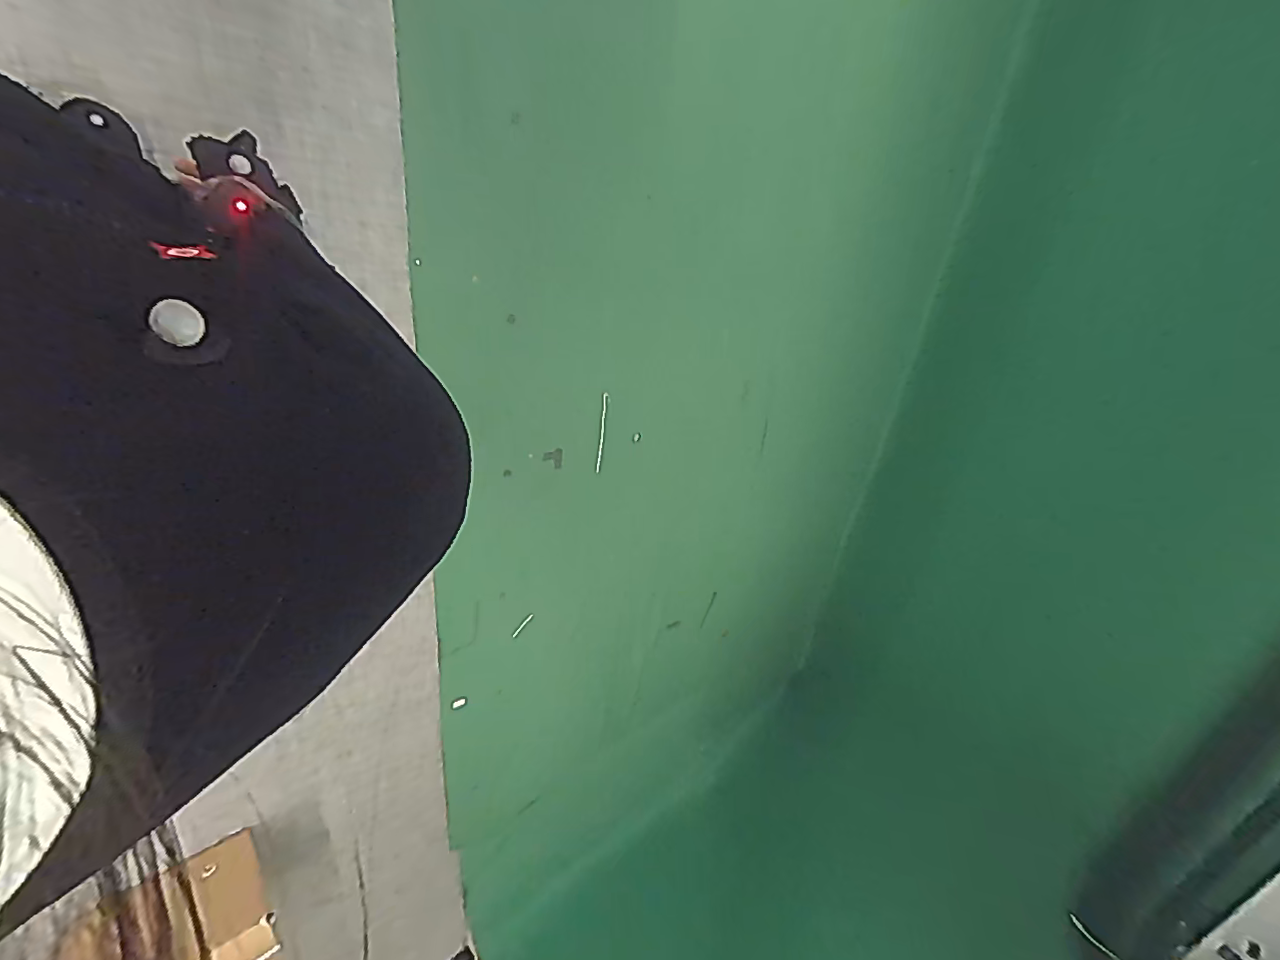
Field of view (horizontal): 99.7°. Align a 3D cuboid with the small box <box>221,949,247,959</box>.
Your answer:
[{"bbox_3d":[-1.133,1.422,1.433,0.179,0.176,0.168,-17,120,-37],"label":"small box"}]
